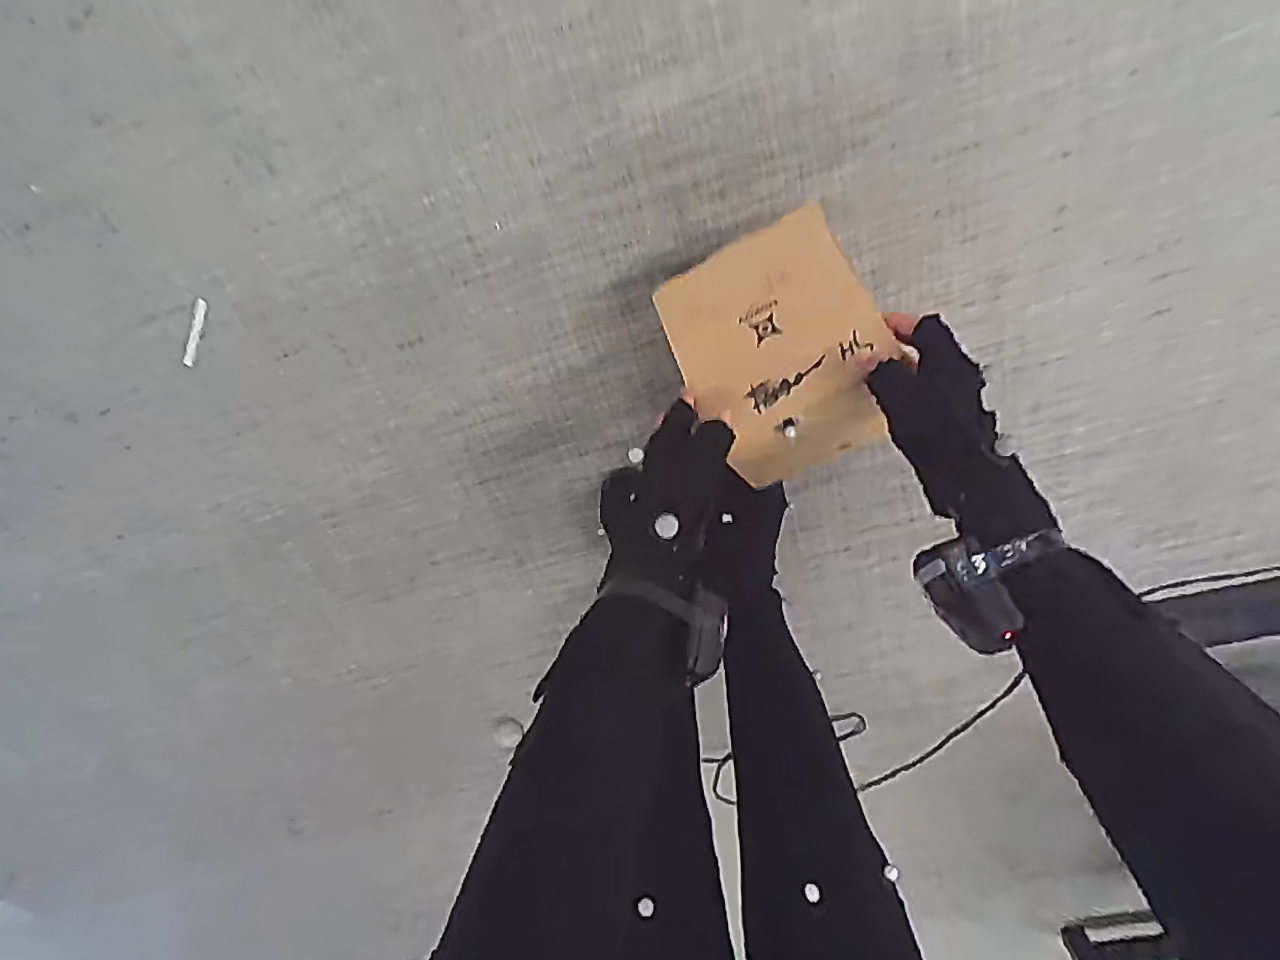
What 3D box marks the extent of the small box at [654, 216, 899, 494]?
[{"bbox_3d":[0.139,-0.108,0.540,0.168,0.179,0.176,-26,155,18],"label":"small box"}]
